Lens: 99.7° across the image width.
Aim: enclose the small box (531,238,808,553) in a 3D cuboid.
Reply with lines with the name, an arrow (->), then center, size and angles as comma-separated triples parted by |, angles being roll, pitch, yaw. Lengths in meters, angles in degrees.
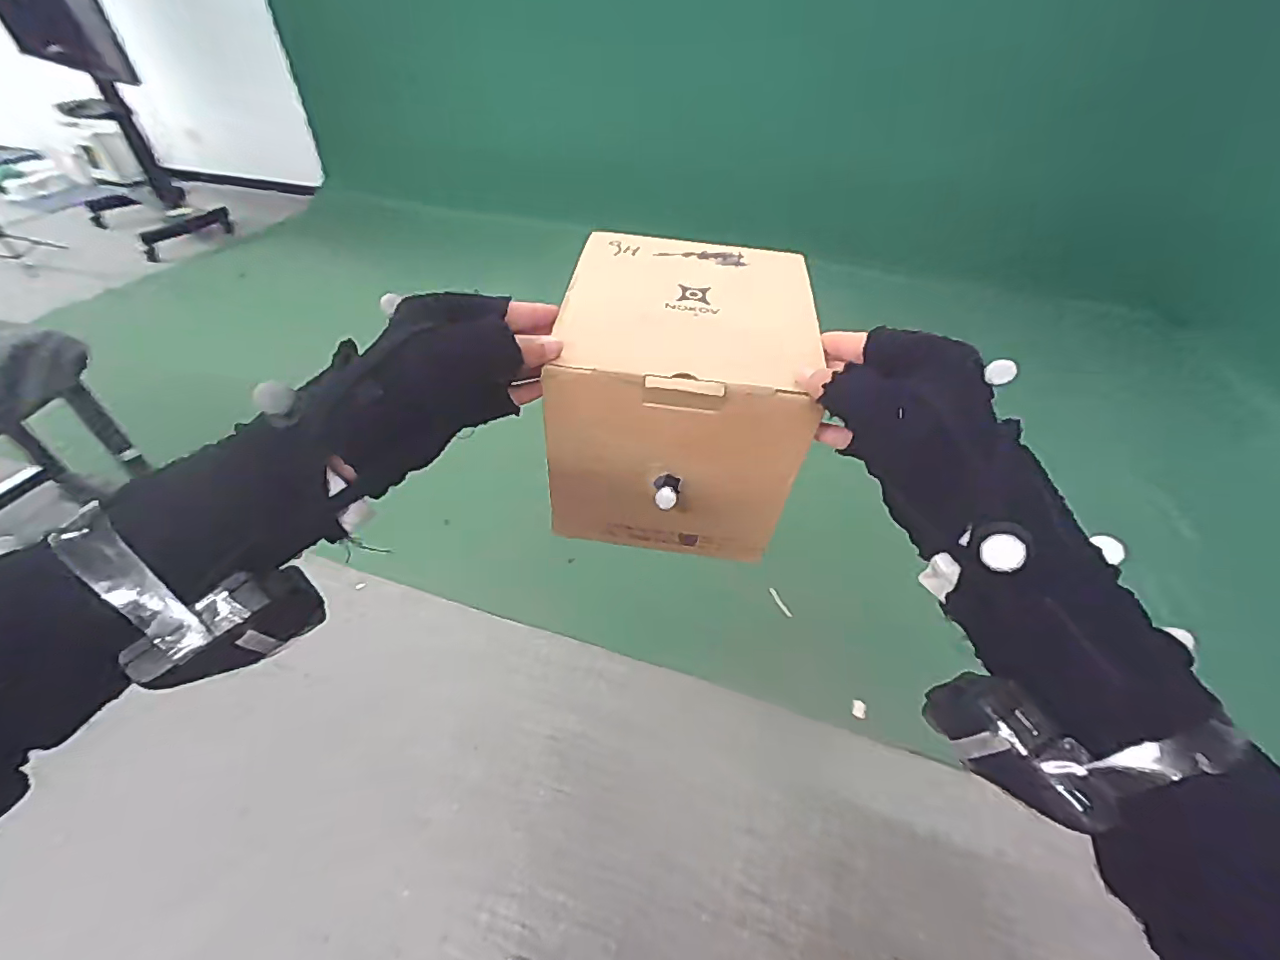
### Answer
small box -> 0.022, -0.062, 0.425 | 0.168, 0.176, 0.179 | 7, 49, 1
